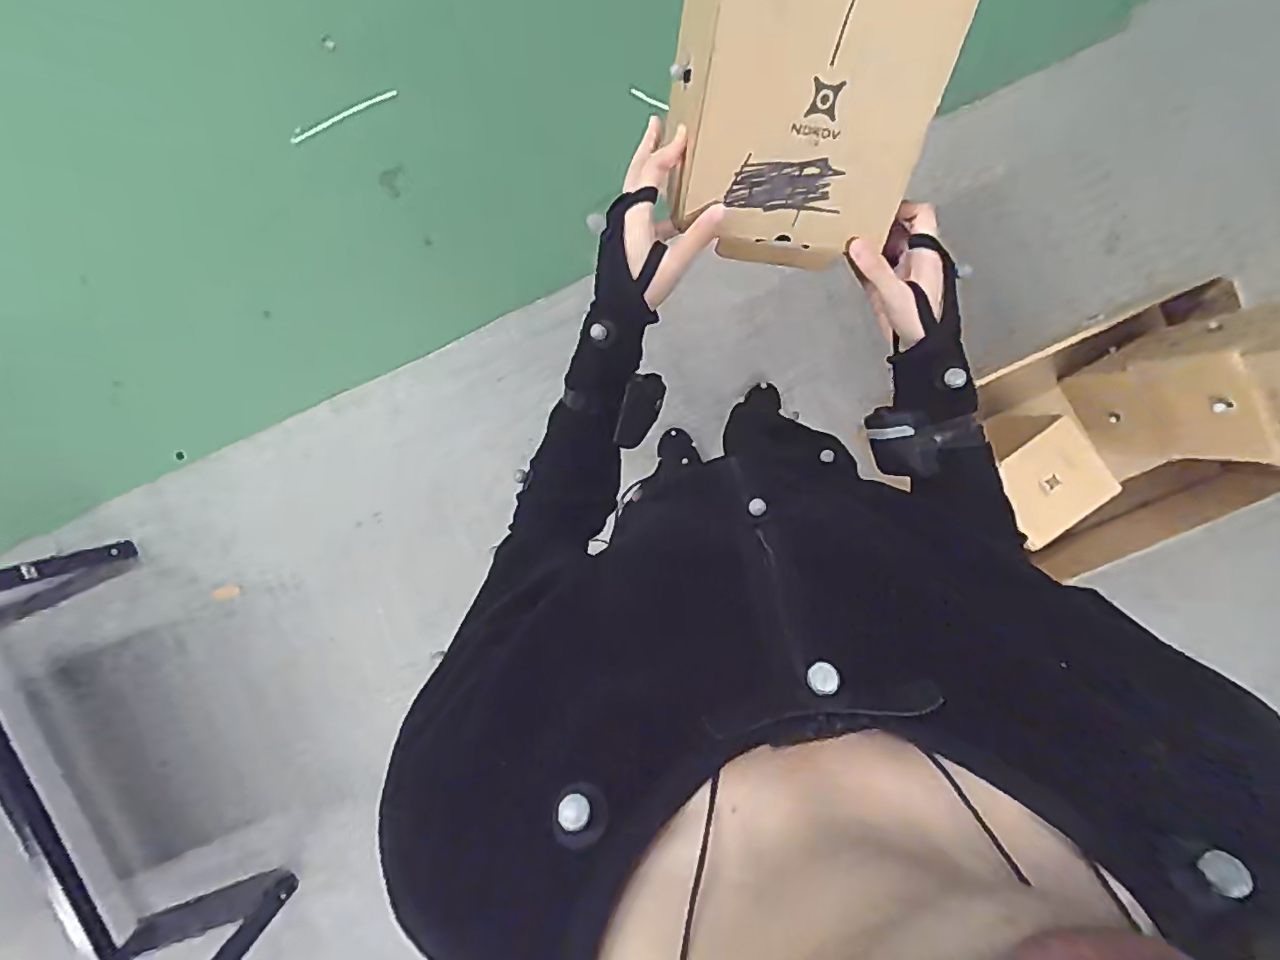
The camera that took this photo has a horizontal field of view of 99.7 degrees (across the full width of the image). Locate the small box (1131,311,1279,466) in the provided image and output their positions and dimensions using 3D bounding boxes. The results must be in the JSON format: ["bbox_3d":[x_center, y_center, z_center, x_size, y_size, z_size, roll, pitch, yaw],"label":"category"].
[{"bbox_3d":[0.903,-0.139,0.801,0.168,0.176,0.179,-29,92,5],"label":"small box"}]

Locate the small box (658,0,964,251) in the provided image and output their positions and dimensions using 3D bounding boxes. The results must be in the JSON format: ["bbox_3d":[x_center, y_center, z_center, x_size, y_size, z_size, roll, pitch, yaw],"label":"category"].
[{"bbox_3d":[0.110,-0.308,0.435,0.168,0.176,0.179,3,128,-8],"label":"small box"}]

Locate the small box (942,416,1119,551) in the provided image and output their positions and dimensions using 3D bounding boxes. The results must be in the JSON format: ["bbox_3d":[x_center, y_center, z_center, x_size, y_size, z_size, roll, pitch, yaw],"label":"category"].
[{"bbox_3d":[0.692,0.001,0.989,0.179,0.176,0.168,-38,93,5],"label":"small box"}]

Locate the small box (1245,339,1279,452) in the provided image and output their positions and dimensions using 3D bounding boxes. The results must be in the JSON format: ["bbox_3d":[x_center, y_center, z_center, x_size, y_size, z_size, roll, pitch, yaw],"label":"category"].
[{"bbox_3d":[0.907,-0.123,0.636,0.179,0.176,0.168,-27,92,6],"label":"small box"}]
